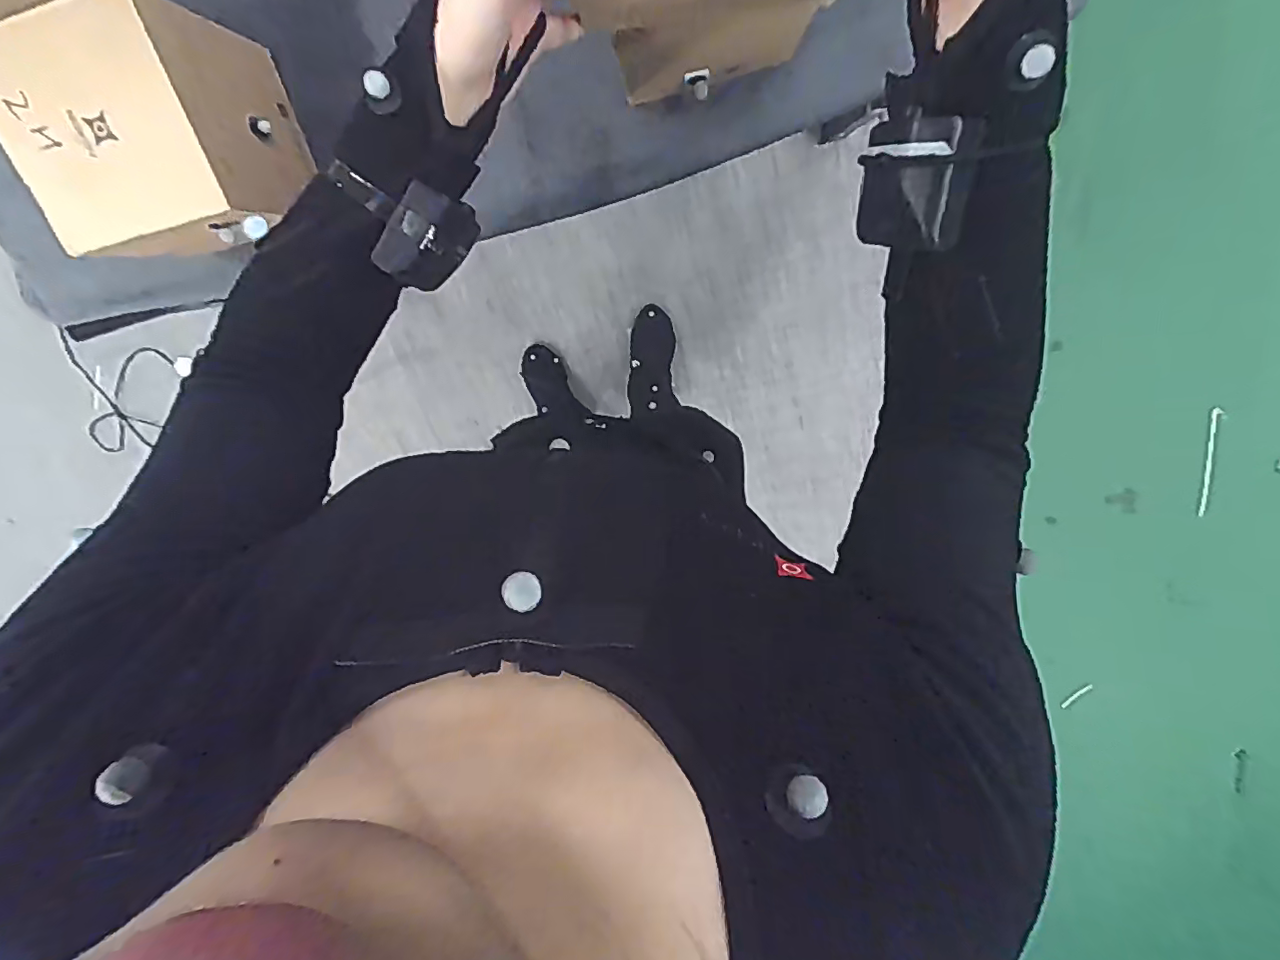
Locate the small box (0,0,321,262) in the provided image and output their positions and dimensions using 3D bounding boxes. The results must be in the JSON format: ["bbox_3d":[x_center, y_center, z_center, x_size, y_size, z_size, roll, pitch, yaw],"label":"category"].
[{"bbox_3d":[-0.455,-0.322,0.533,0.179,0.176,0.168,-11,112,8],"label":"small box"}]

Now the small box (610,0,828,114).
[{"bbox_3d":[0.046,-0.443,0.450,0.168,0.176,0.179,-11,112,9],"label":"small box"}]
